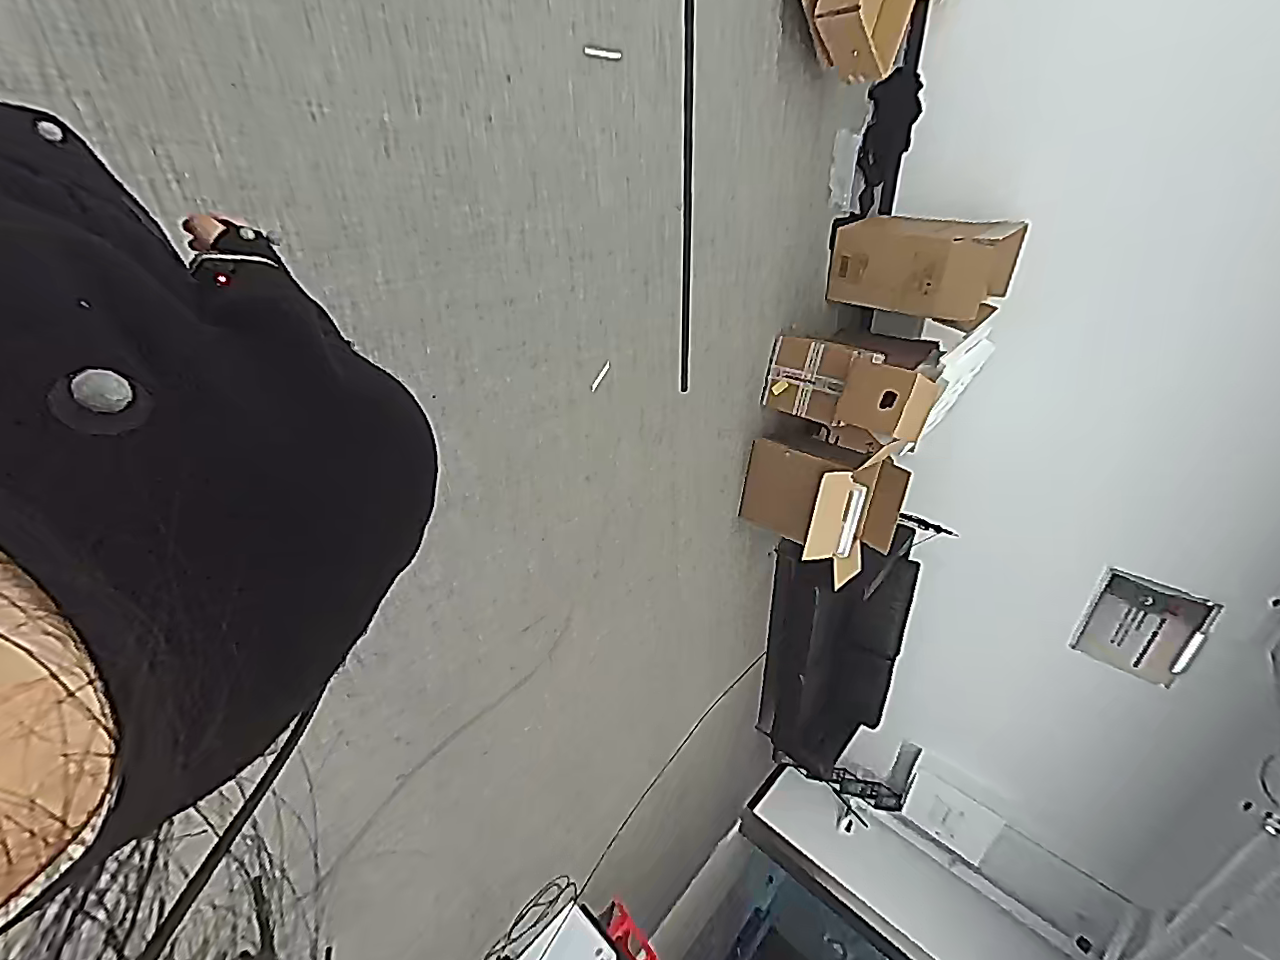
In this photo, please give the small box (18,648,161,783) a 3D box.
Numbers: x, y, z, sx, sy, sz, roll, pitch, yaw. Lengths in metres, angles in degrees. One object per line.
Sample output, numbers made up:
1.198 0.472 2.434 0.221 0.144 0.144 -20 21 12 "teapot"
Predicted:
-1.210 0.509 1.193 0.168 0.176 0.179 -30 131 -38 "small box"
